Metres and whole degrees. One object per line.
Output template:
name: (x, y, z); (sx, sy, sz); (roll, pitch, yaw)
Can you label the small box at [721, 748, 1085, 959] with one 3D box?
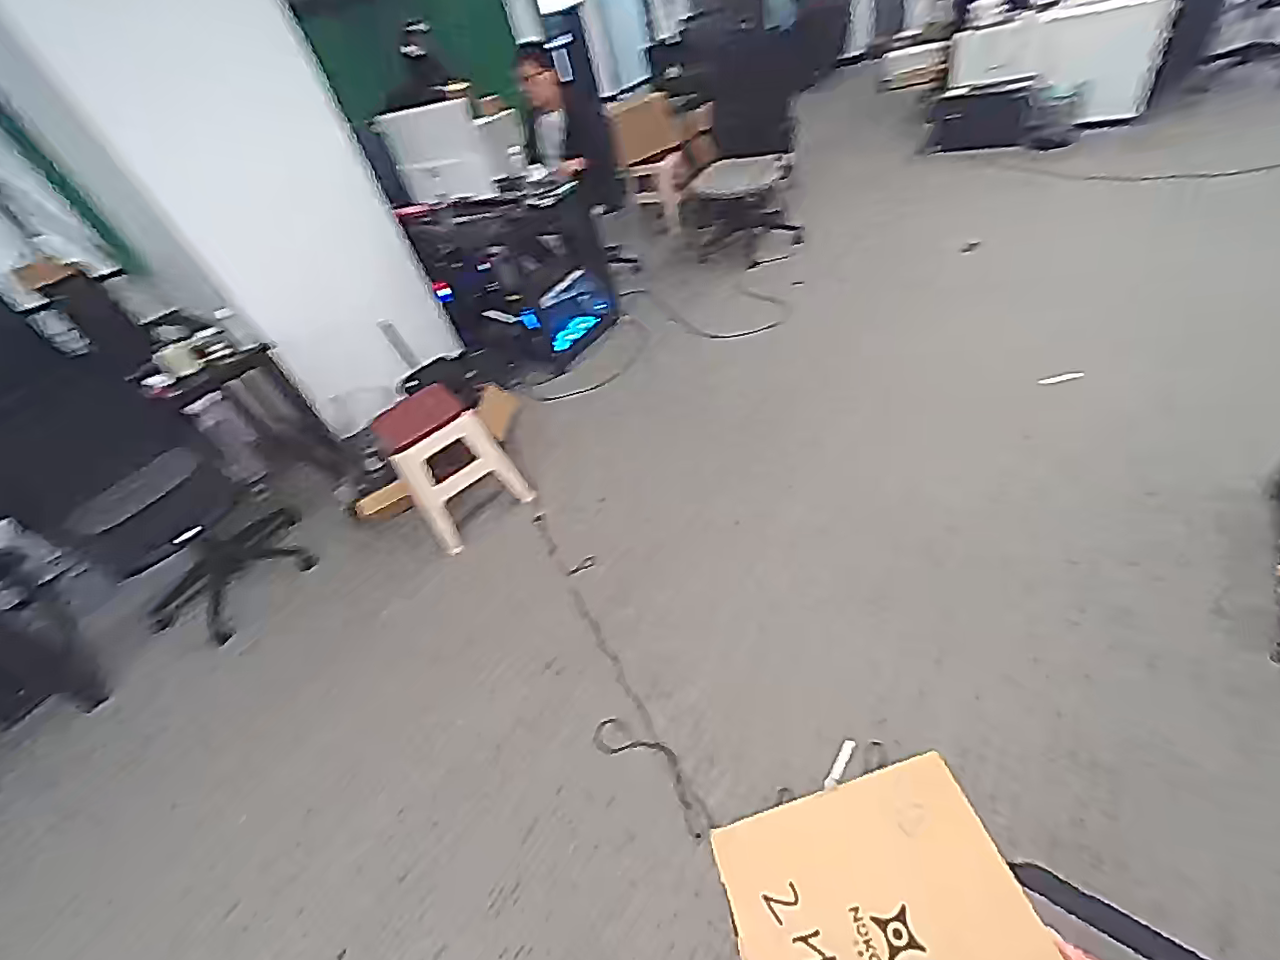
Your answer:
small box: (0.176, 0.319, 0.376); (0.179, 0.176, 0.168); (-21, 43, 4)
